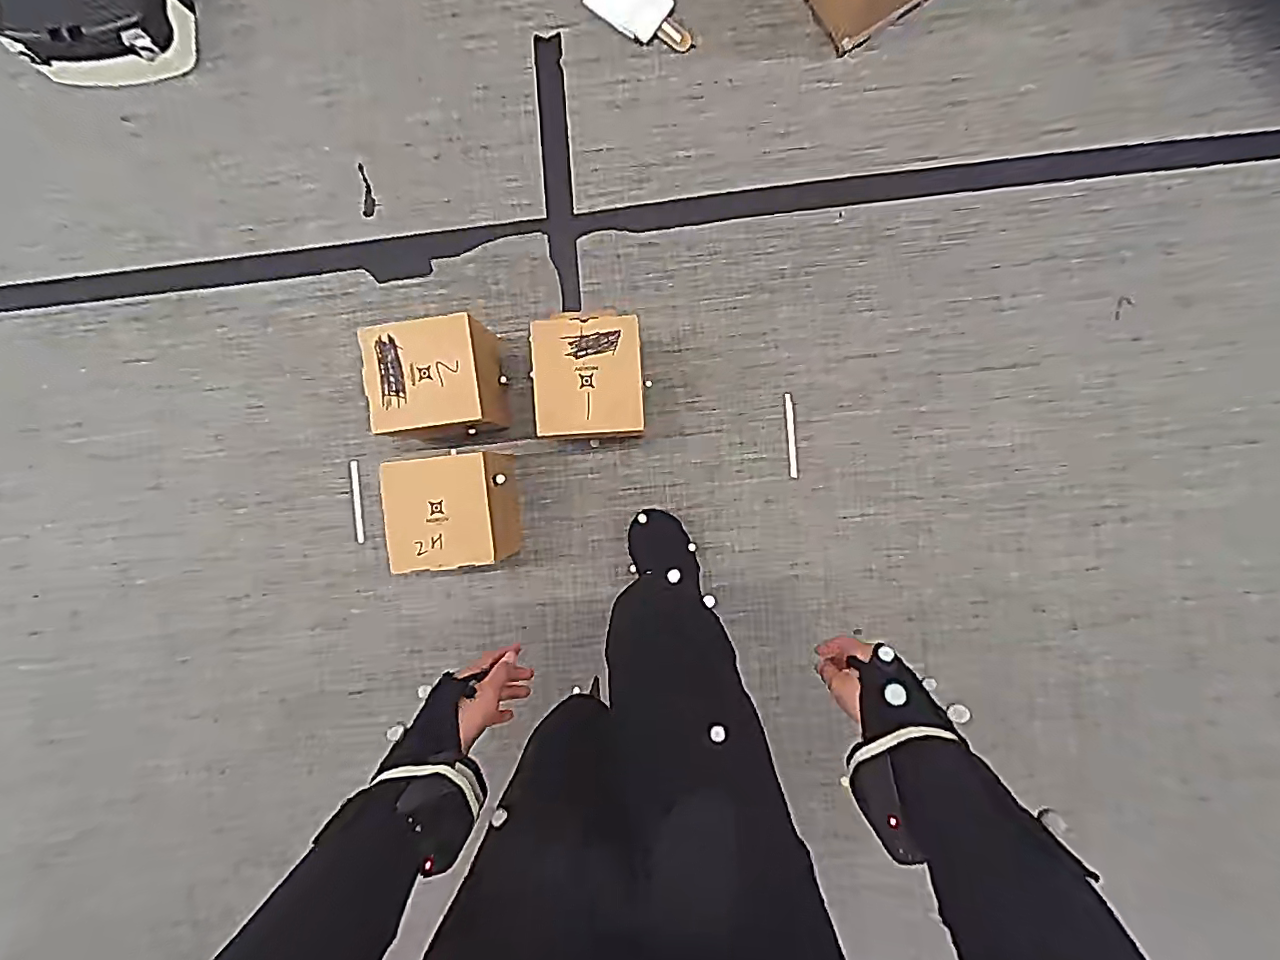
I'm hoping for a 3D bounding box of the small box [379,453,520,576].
[{"bbox_3d":[-0.306,0.052,0.898,0.168,0.176,0.179,-6,91,2],"label":"small box"}]

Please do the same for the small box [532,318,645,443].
[{"bbox_3d":[-0.077,-0.155,0.889,0.168,0.176,0.179,-3,92,2],"label":"small box"}]
